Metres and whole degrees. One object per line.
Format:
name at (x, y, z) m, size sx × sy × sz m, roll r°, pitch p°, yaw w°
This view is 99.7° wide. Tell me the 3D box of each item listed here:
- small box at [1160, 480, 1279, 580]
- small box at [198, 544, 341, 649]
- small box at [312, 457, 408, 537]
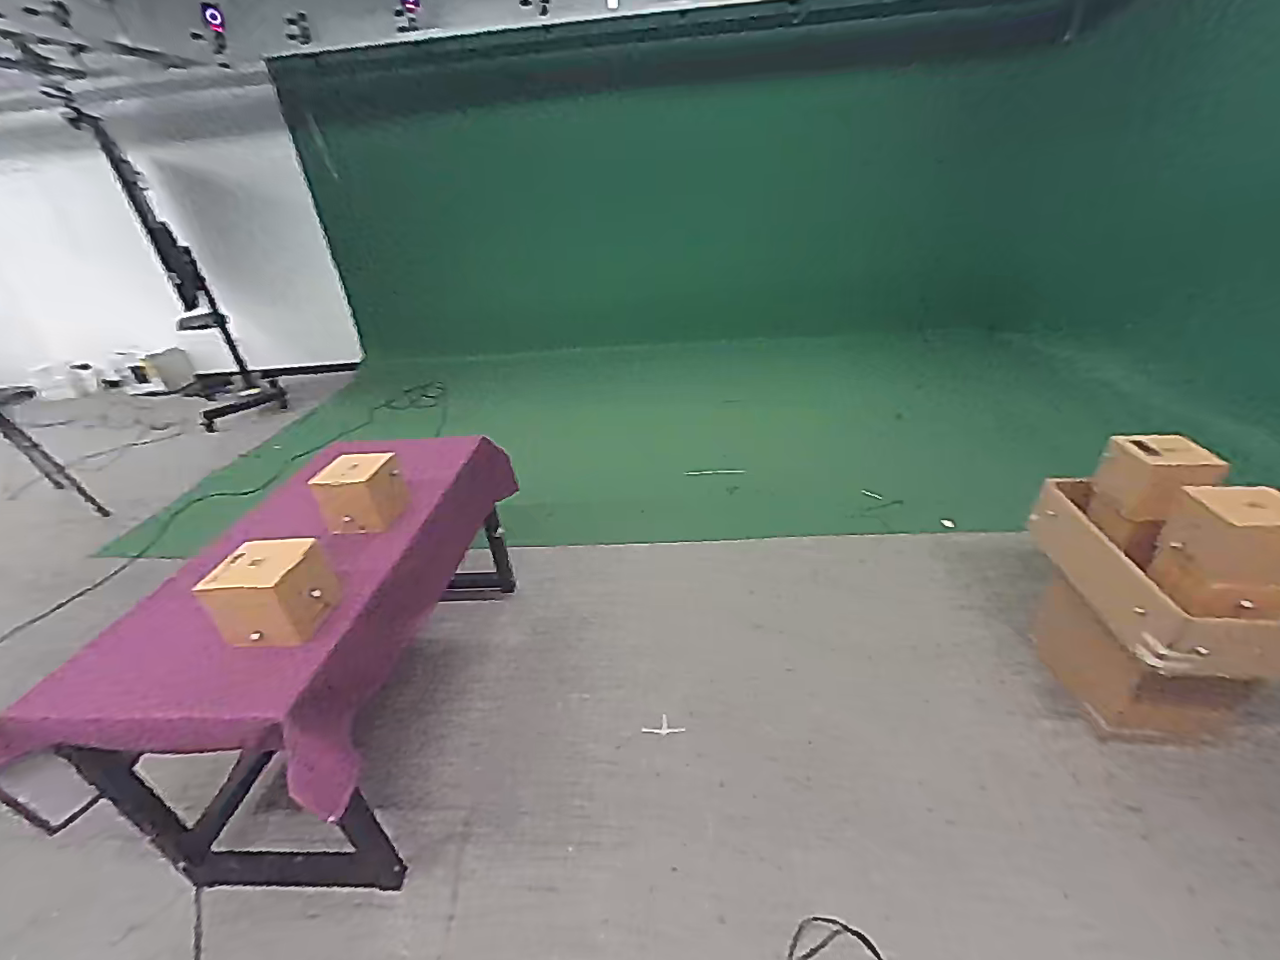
small box at (1.362, 0.113, 1.236) m, size 0.179 × 0.176 × 0.168 m, roll -1°, pitch 29°, yaw 12°
small box at (-0.808, 0.259, 1.204) m, size 0.179 × 0.176 × 0.168 m, roll -3°, pitch 29°, yaw 5°
small box at (-0.800, 0.048, 1.570) m, size 0.168 × 0.176 × 0.179 m, roll -3°, pitch 30°, yaw 7°
